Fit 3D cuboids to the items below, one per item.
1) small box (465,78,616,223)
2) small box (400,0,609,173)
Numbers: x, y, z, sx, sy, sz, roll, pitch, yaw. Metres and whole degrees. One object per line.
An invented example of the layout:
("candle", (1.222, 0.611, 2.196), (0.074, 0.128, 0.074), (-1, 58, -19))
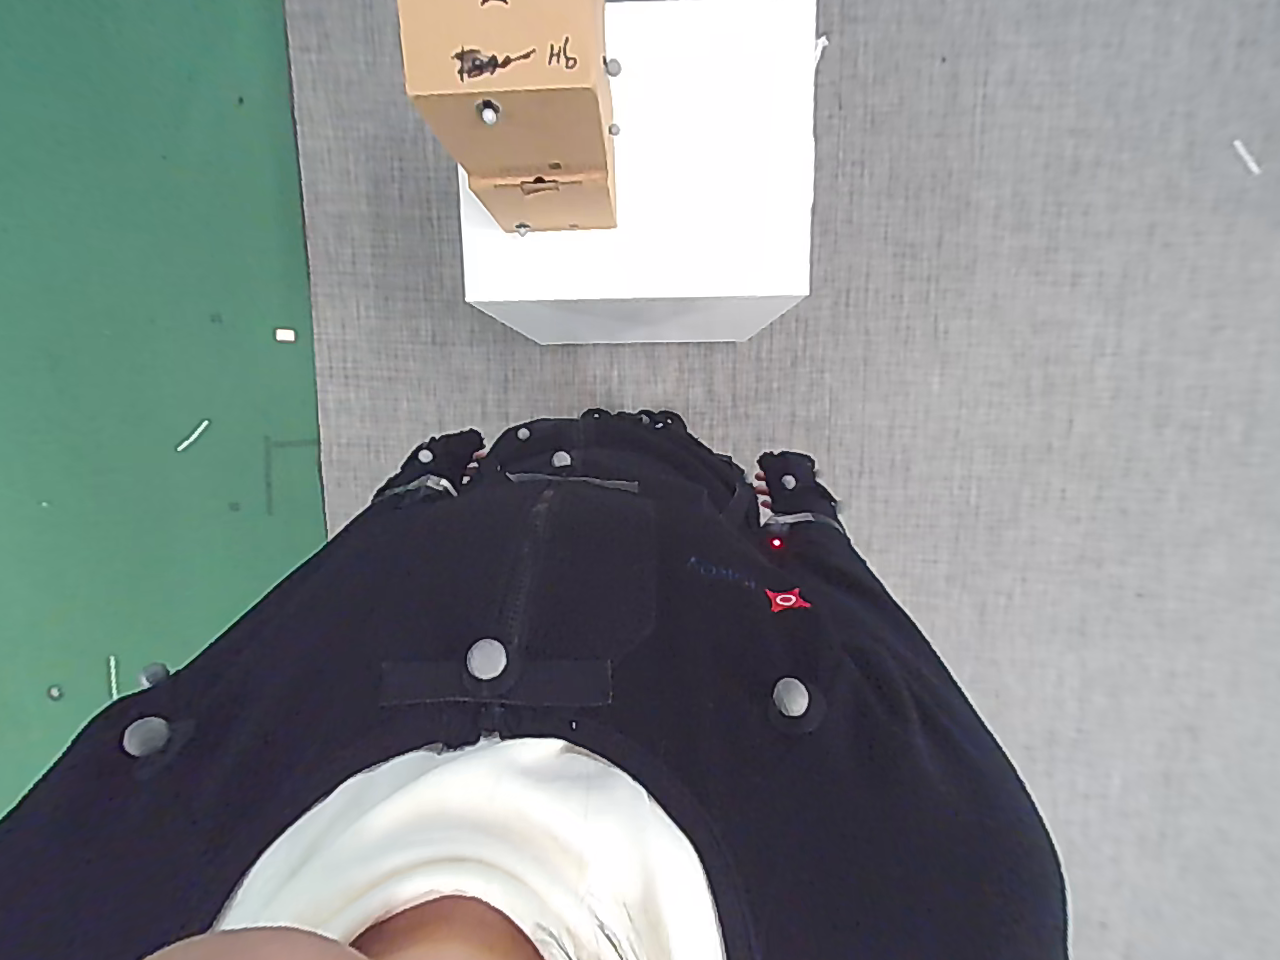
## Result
("small box", (-0.120, -0.445, 0.697), (0.168, 0.176, 0.179), (-2, 97, 1))
("small box", (-0.120, -0.433, 0.534), (0.168, 0.176, 0.179), (-2, 97, 2))
